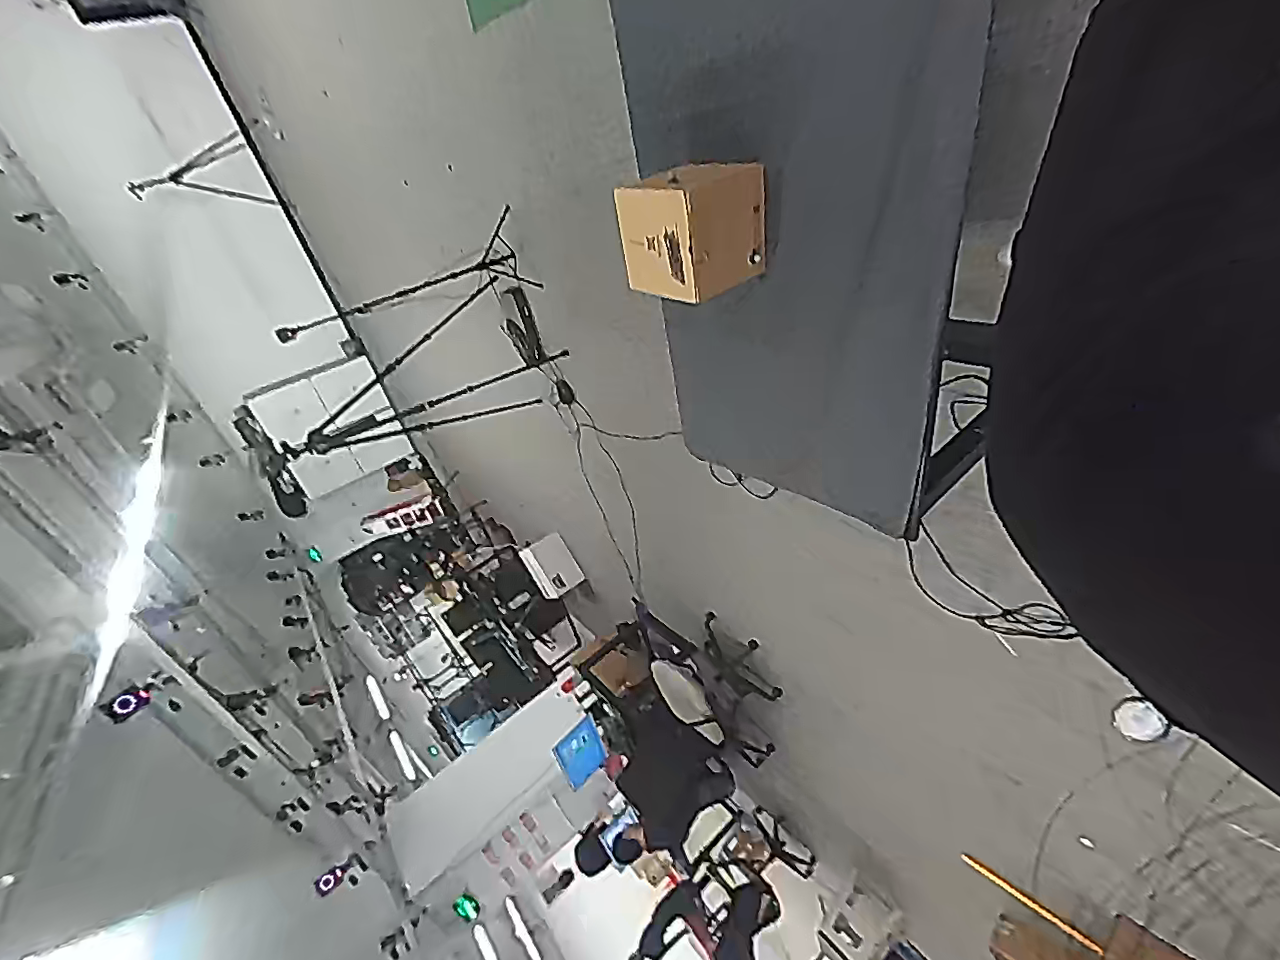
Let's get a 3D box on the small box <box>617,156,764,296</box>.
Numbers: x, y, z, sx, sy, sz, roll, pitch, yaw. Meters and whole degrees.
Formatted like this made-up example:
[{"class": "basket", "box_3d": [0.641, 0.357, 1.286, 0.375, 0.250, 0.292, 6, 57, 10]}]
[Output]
[{"class": "small box", "box_3d": [0.092, -0.427, 0.900, 0.179, 0.176, 0.168, 32, 145, 43]}]
